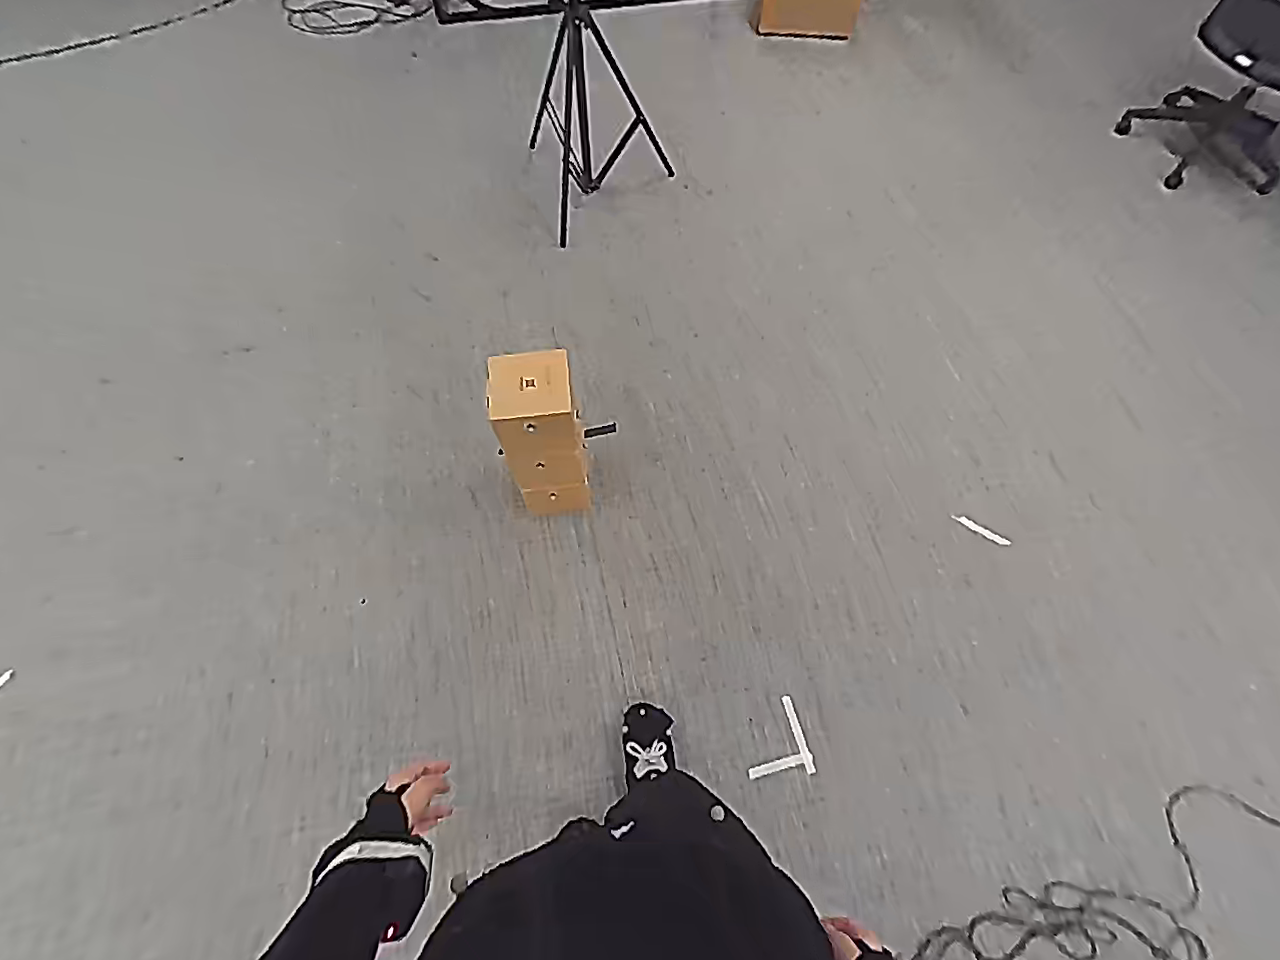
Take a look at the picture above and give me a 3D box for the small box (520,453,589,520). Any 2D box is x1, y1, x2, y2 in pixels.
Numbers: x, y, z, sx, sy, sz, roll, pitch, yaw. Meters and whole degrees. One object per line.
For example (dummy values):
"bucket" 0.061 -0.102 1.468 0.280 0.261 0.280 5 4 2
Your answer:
"small box" -0.236 0.001 1.514 0.179 0.176 0.168 -7 65 -3

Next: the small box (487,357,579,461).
"small box" -0.239 -0.154 1.227 0.179 0.176 0.168 -7 65 -4

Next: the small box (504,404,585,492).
"small box" -0.238 -0.077 1.370 0.179 0.176 0.168 -4 65 -2
